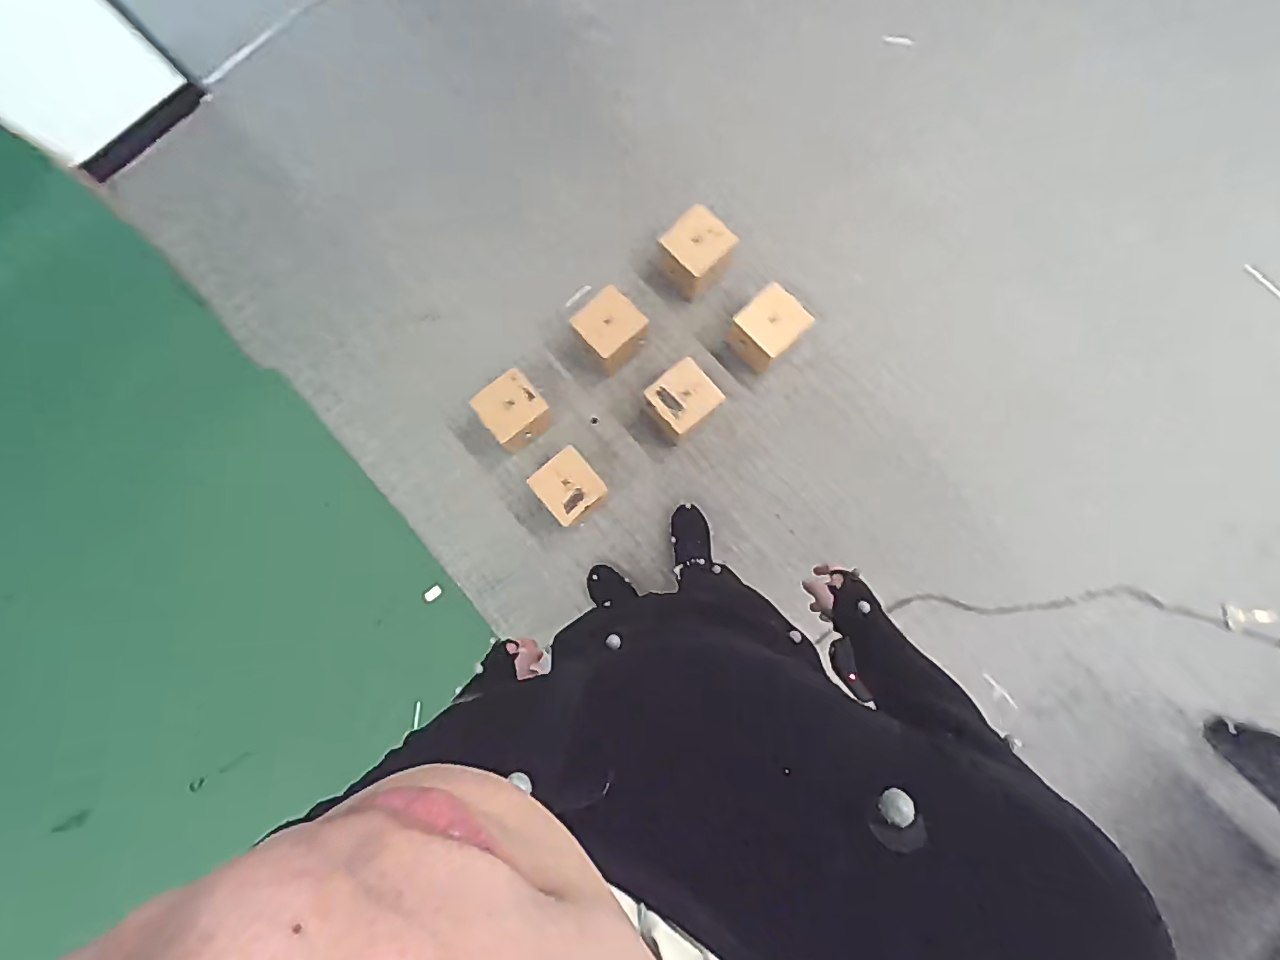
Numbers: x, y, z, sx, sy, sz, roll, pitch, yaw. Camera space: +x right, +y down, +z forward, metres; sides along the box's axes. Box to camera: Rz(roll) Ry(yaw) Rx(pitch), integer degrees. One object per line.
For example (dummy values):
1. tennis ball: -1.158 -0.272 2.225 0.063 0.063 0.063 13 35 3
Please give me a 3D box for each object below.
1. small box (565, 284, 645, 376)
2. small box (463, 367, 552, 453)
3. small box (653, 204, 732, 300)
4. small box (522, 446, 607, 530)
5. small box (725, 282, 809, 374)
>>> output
1. small box: -0.102 -0.448 1.638 0.179 0.176 0.168 -42 83 -4
2. small box: -0.385 -0.200 1.611 0.179 0.176 0.168 -39 84 -3
3. small box: 0.159 -0.692 1.664 0.179 0.176 0.168 -43 84 -5
4. small box: -0.211 0.029 1.577 0.168 0.176 0.179 -41 83 -4
5. small box: 0.373 -0.450 1.632 0.179 0.176 0.168 -43 84 -5
